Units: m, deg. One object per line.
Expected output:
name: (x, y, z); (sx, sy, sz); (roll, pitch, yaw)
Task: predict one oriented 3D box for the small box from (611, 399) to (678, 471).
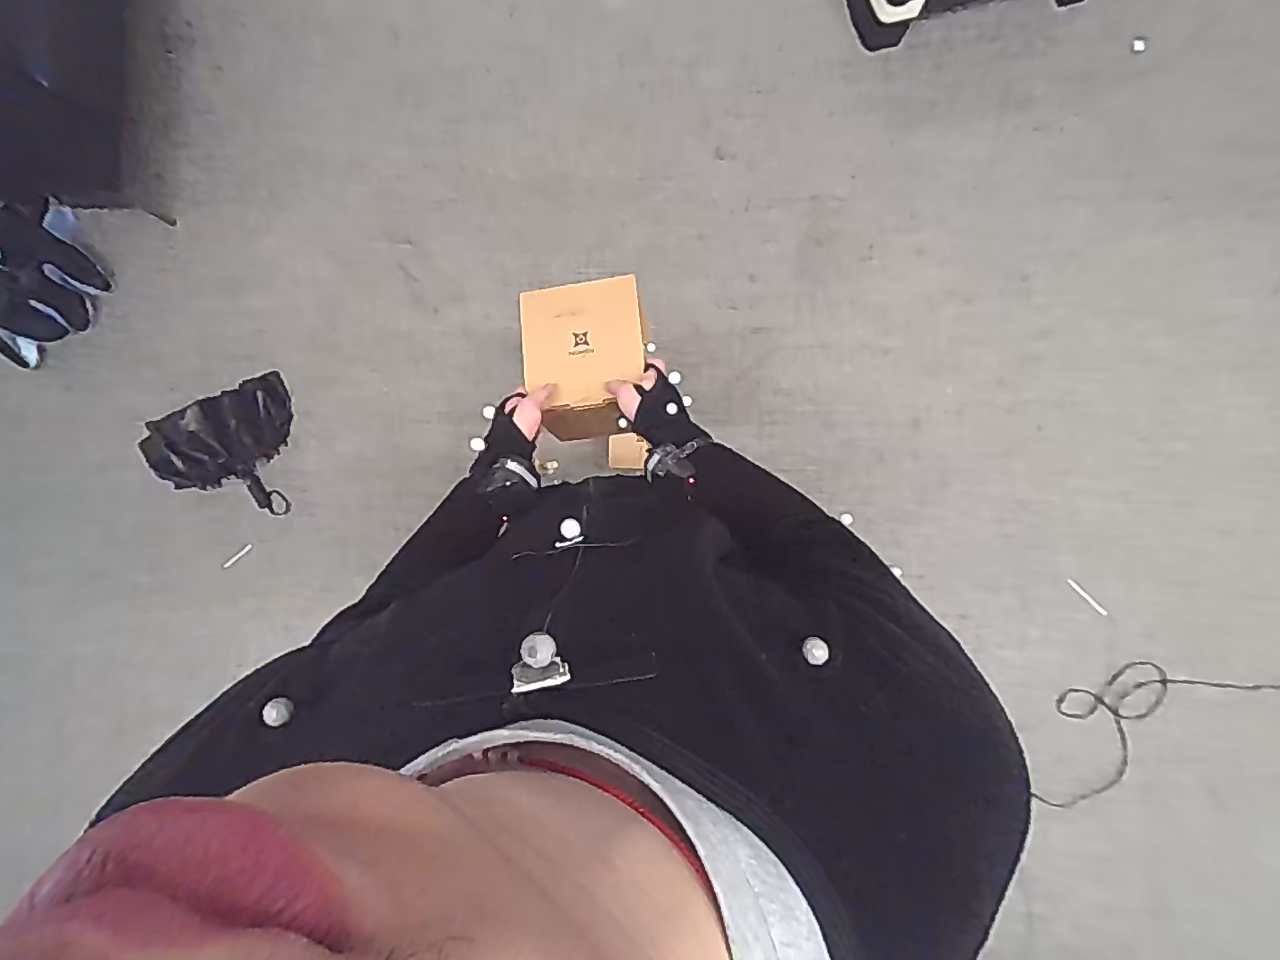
small box: (0.013, -0.117, 1.465); (0.168, 0.176, 0.179); (2, 89, 2)
